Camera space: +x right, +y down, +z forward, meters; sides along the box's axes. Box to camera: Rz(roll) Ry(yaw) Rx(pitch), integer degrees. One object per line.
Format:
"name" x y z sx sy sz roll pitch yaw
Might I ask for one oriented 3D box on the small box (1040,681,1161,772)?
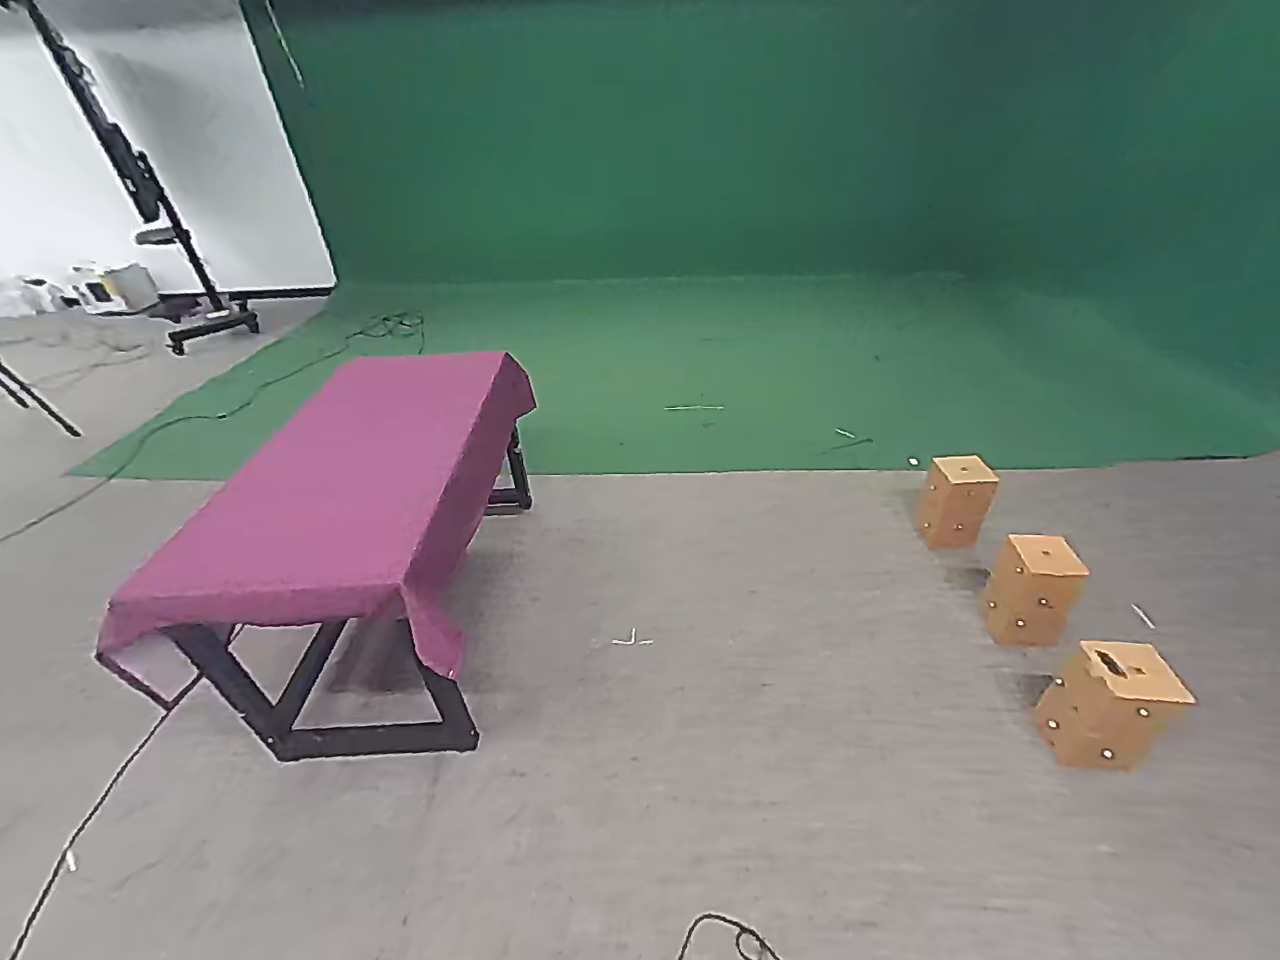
"small box" 1.224 0.668 1.461 0.179 0.176 0.168 0 37 6

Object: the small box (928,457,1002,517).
"small box" 1.223 0.028 2.057 0.179 0.176 0.168 -2 37 2

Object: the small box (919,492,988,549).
"small box" 1.234 0.161 2.152 0.179 0.176 0.168 -1 37 2

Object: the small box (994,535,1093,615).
"small box" 1.249 0.295 1.691 0.168 0.176 0.179 2 37 6

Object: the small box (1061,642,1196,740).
"small box" 1.212 0.534 1.365 0.179 0.176 0.168 2 37 6
